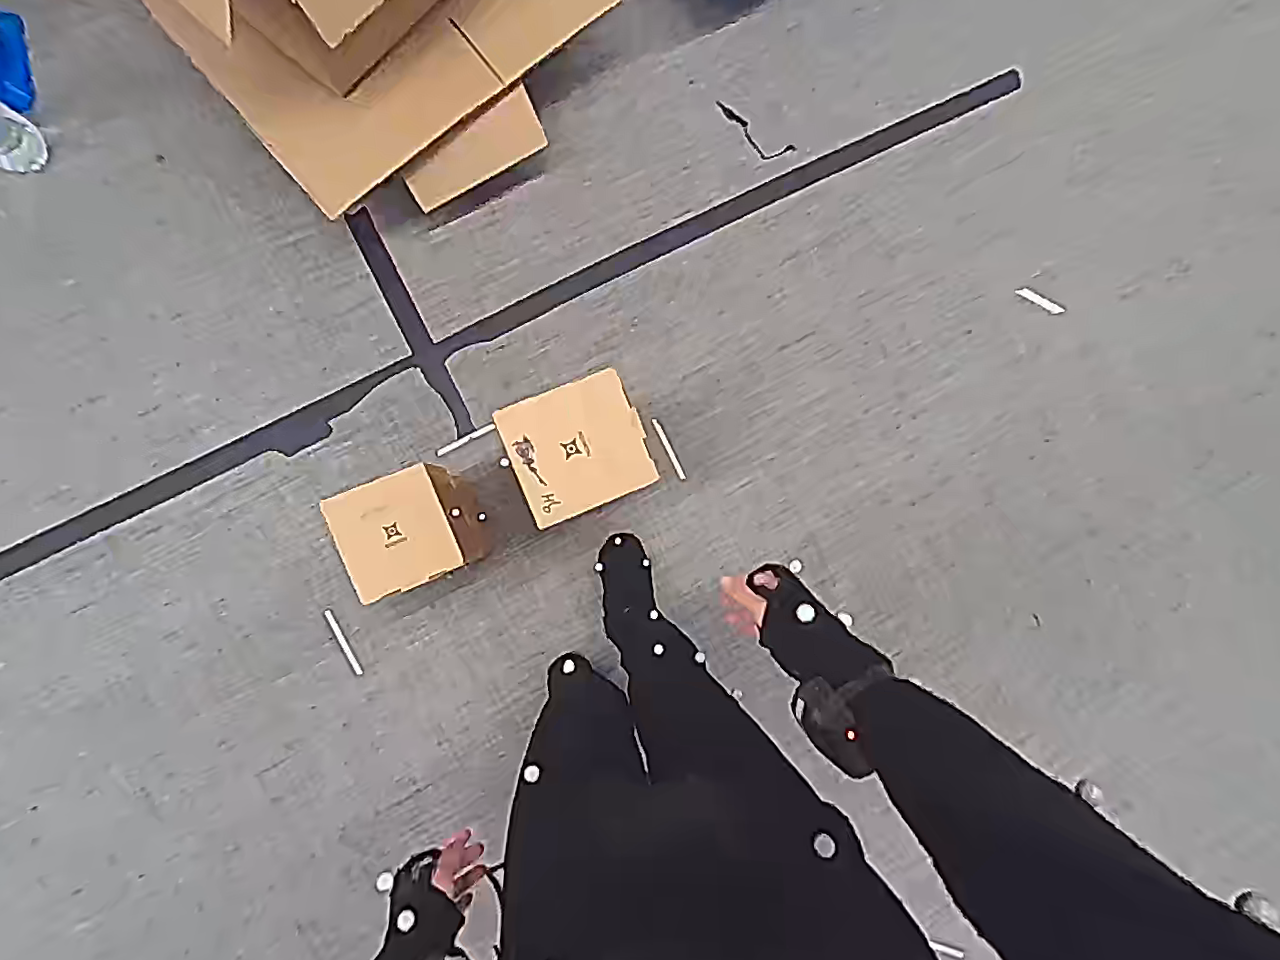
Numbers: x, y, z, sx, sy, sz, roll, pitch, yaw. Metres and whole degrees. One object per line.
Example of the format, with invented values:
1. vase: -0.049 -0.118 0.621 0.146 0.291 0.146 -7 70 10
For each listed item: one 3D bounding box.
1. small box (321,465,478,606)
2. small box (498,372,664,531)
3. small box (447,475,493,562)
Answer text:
1. small box: -0.388 0.086 0.906 0.168 0.176 0.179 -23 91 -9
2. small box: -0.088 -0.038 0.780 0.179 0.176 0.168 -22 92 -9
3. small box: -0.410 0.097 1.067 0.179 0.176 0.168 -21 92 -7
